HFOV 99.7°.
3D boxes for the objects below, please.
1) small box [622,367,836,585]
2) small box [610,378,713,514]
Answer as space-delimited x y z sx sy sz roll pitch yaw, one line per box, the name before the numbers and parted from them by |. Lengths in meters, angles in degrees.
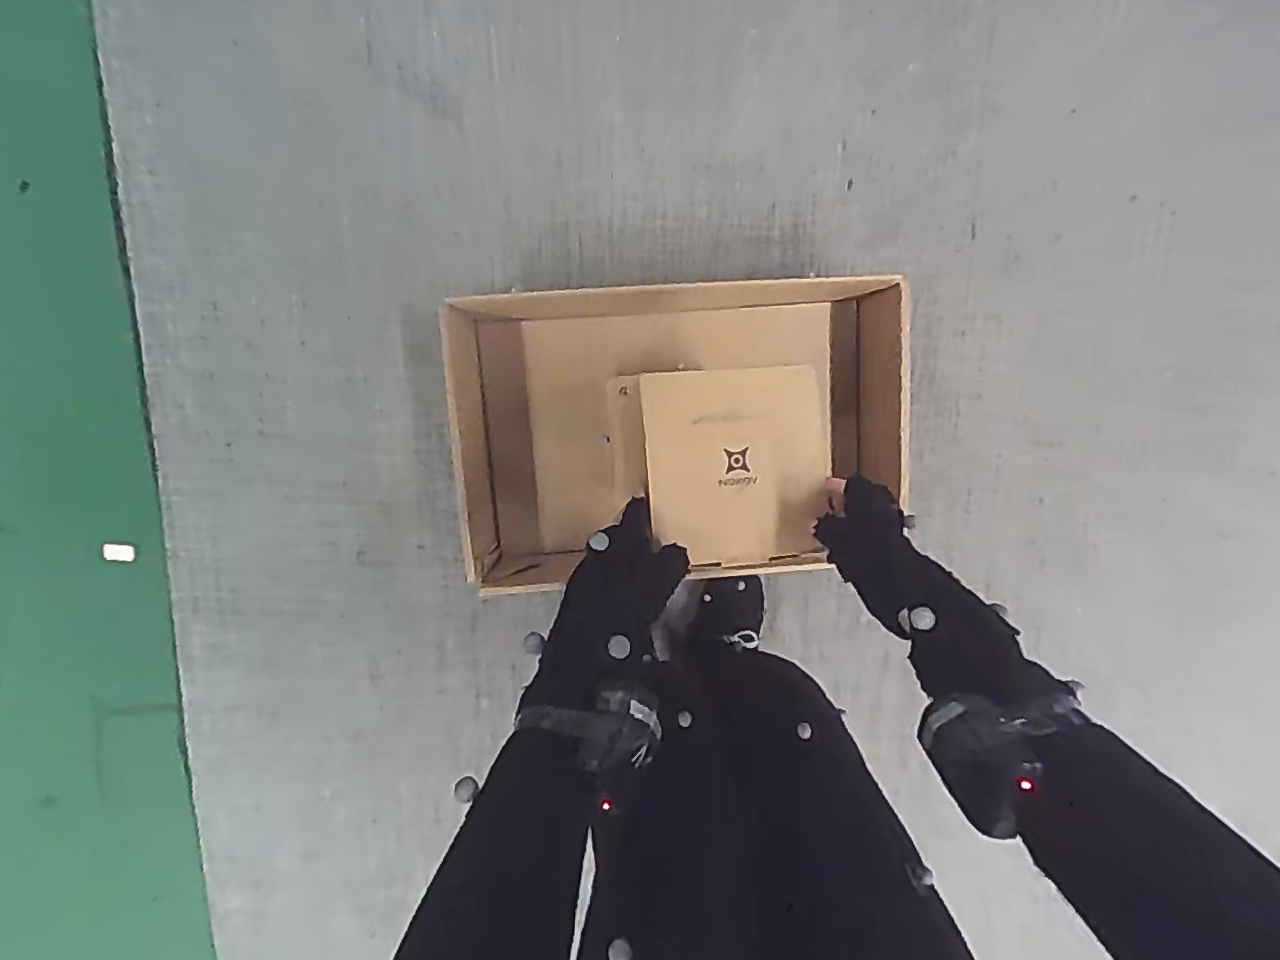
small box | 0.077 -0.006 0.557 0.168 0.176 0.179 -9 91 -6
small box | 0.045 -0.057 0.788 0.168 0.176 0.179 -4 99 -2
